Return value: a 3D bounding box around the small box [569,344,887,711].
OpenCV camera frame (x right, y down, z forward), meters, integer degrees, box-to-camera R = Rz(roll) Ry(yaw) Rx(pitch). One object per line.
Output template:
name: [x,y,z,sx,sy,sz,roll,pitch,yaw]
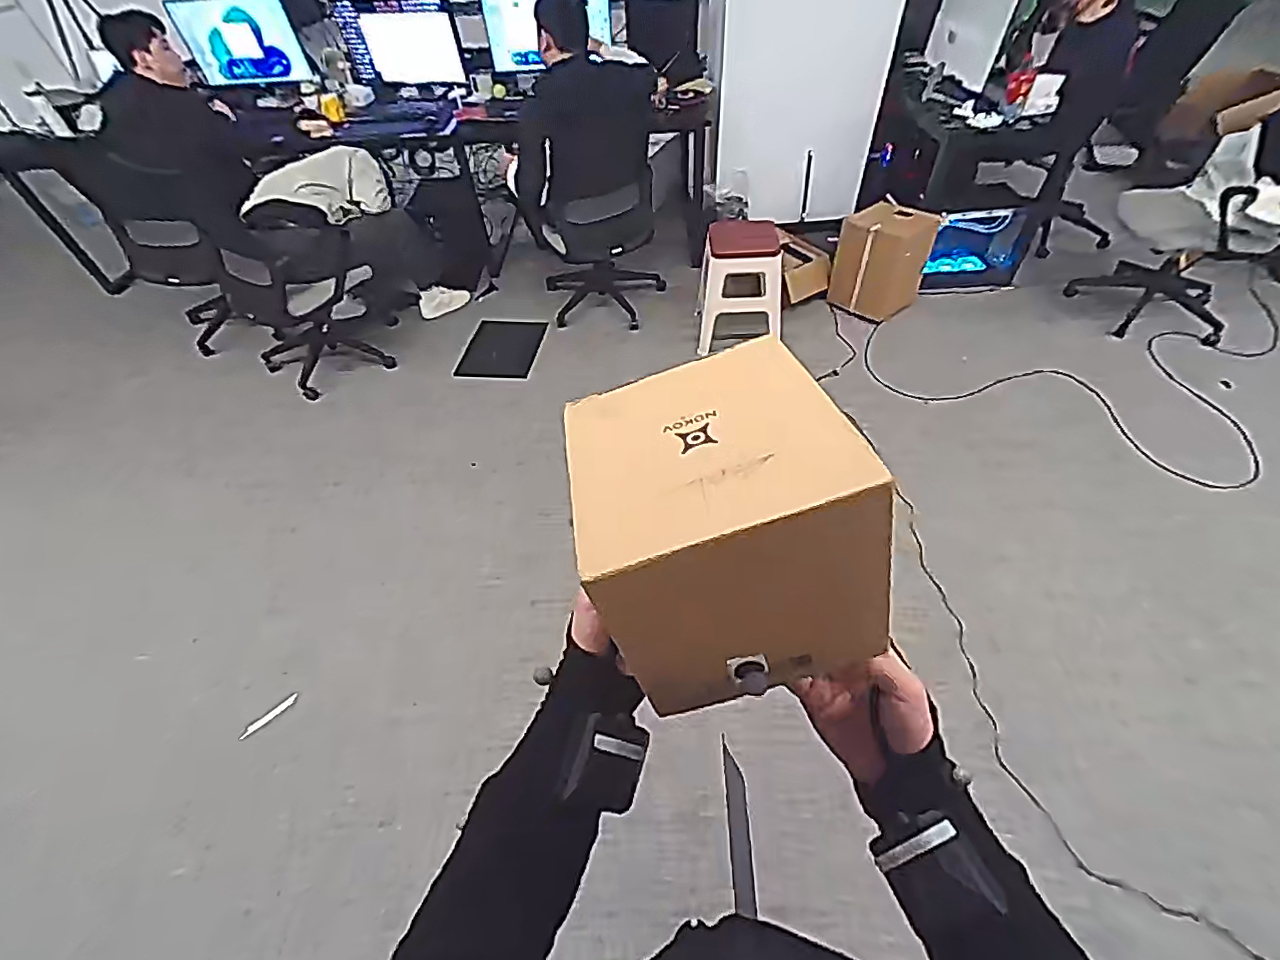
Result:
small box: [0.057,0.033,0.396,0.168,0.176,0.179,-19,41,3]
